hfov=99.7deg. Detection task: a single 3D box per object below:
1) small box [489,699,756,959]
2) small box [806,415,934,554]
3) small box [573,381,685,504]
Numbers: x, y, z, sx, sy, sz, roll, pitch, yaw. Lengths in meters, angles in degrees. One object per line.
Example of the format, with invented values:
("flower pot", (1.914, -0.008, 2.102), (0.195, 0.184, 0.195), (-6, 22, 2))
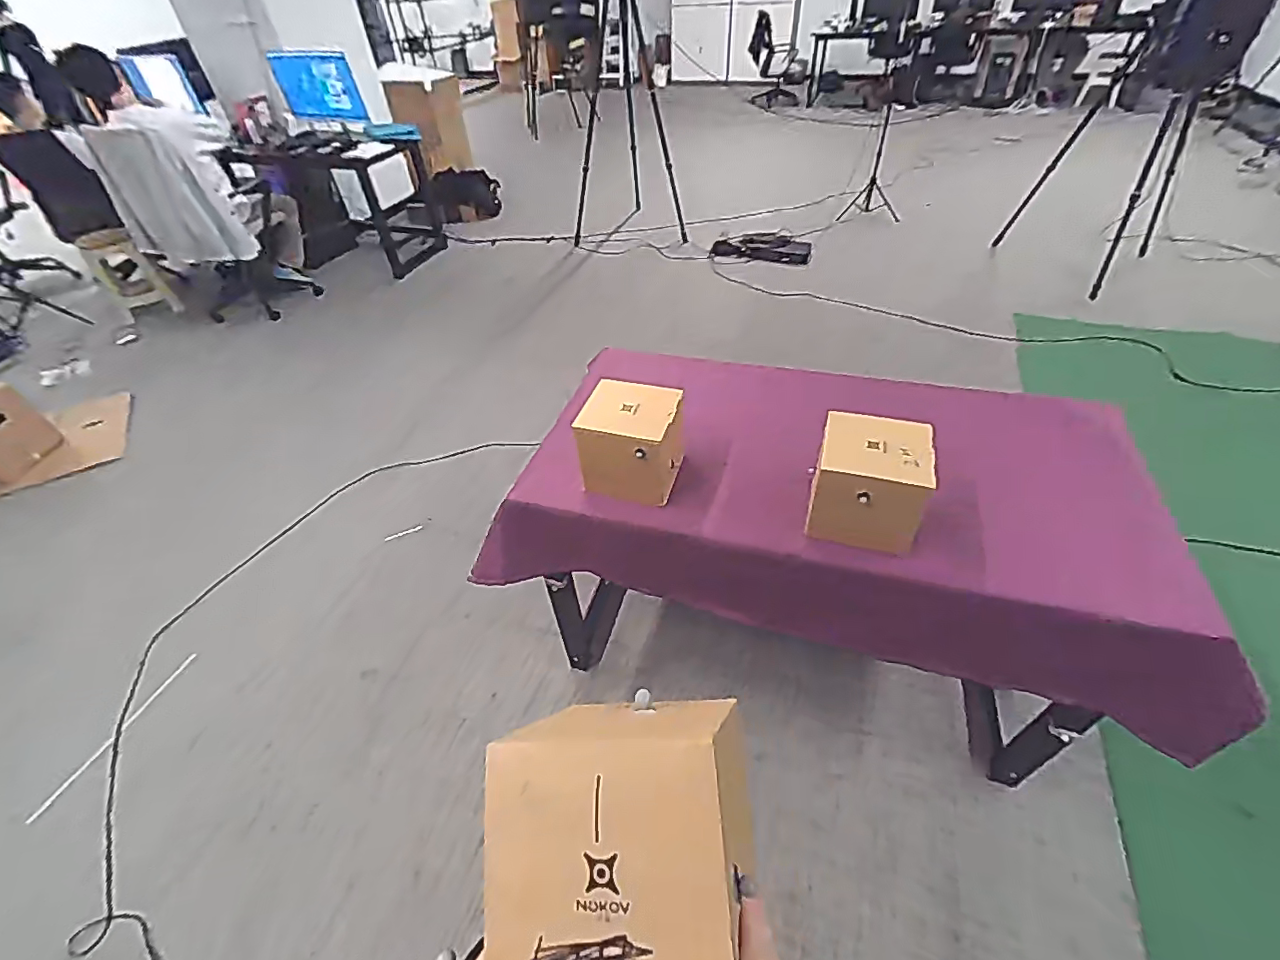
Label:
("small box", (-0.002, 0.280, 0.427), (0.168, 0.176, 0.179), (-7, 74, 13))
("small box", (0.402, 0.010, 0.961), (0.179, 0.176, 0.168), (12, 46, 16))
("small box", (-0.015, -0.073, 1.076), (0.179, 0.176, 0.168), (11, 45, 13))
